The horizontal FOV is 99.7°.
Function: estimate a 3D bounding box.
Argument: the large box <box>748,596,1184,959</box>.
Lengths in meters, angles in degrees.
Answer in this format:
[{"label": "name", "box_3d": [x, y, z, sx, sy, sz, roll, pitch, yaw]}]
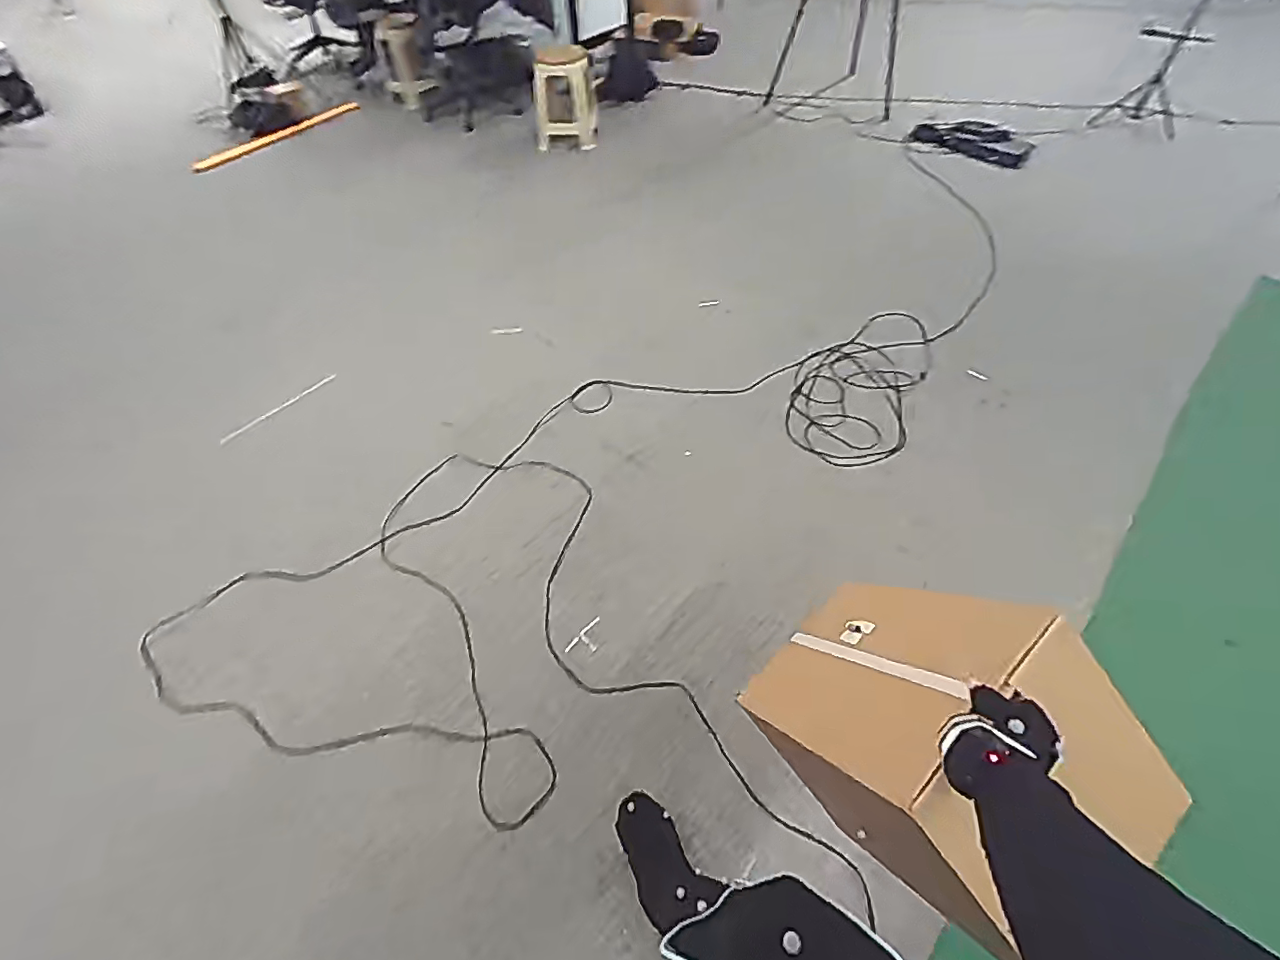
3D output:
[{"label": "large box", "box_3d": [0.447, 0.408, 0.821, 0.320, 0.408, 0.320, -38, 94, -16]}]
